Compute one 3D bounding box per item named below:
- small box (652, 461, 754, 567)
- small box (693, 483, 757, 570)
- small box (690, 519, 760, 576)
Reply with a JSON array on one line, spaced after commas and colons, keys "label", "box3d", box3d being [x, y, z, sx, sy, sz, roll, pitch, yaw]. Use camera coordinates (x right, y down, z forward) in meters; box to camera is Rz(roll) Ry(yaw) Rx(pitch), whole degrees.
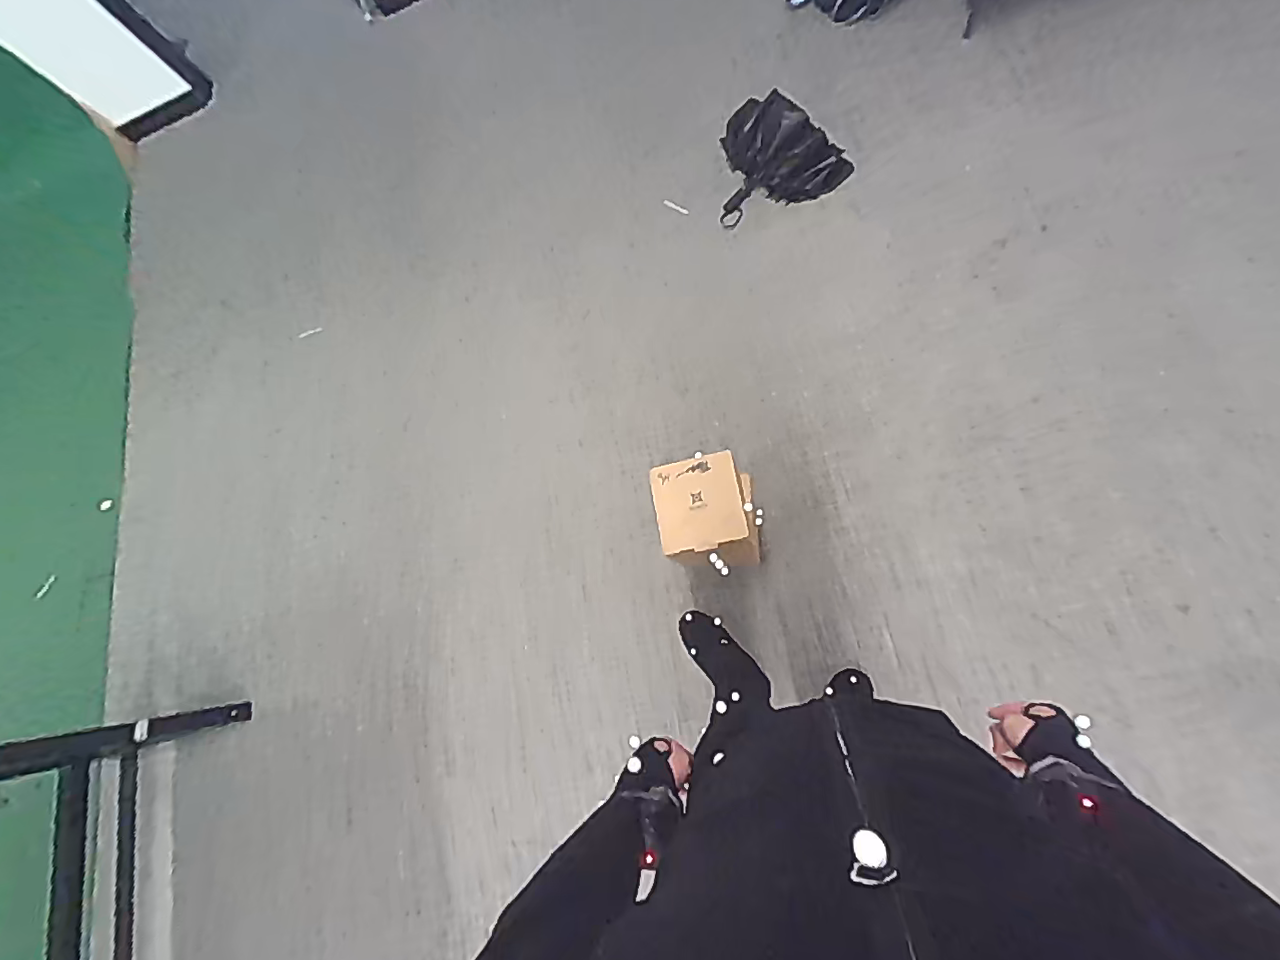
[{"label": "small box", "box3d": [0.133, 0.079, 1.100, 0.168, 0.176, 0.179, -12, 73, 12]}, {"label": "small box", "box3d": [0.182, 0.112, 1.252, 0.168, 0.176, 0.179, -4, 76, 14]}, {"label": "small box", "box3d": [0.221, 0.153, 1.407, 0.168, 0.176, 0.179, -5, 76, 14]}]
